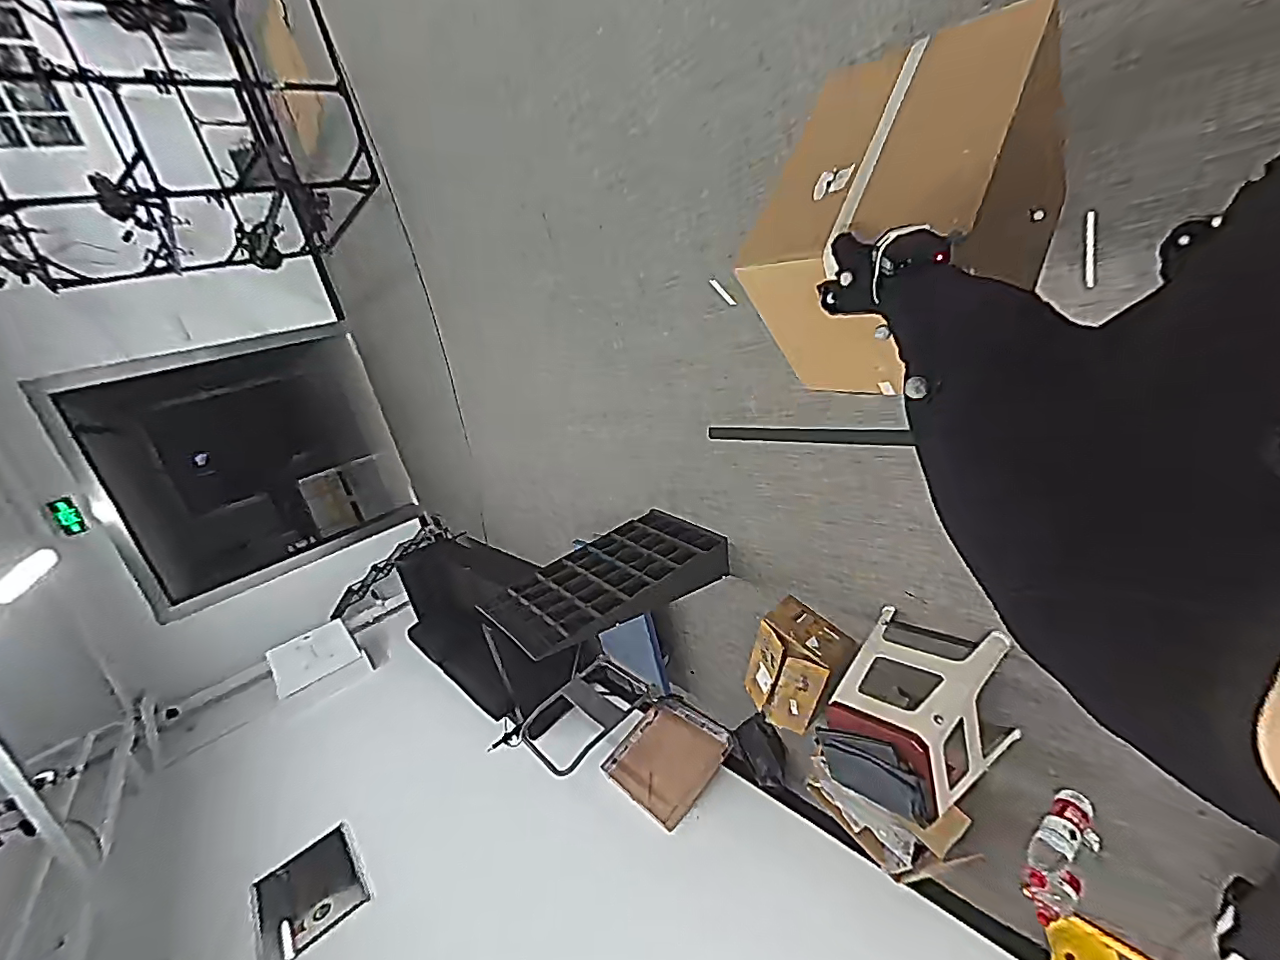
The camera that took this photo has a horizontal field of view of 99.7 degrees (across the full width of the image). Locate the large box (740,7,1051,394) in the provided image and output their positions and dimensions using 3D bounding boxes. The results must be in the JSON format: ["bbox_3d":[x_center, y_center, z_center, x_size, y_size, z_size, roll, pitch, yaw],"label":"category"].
[{"bbox_3d":[0.418,-0.390,0.849,0.320,0.408,0.320,11,161,44],"label":"large box"}]
